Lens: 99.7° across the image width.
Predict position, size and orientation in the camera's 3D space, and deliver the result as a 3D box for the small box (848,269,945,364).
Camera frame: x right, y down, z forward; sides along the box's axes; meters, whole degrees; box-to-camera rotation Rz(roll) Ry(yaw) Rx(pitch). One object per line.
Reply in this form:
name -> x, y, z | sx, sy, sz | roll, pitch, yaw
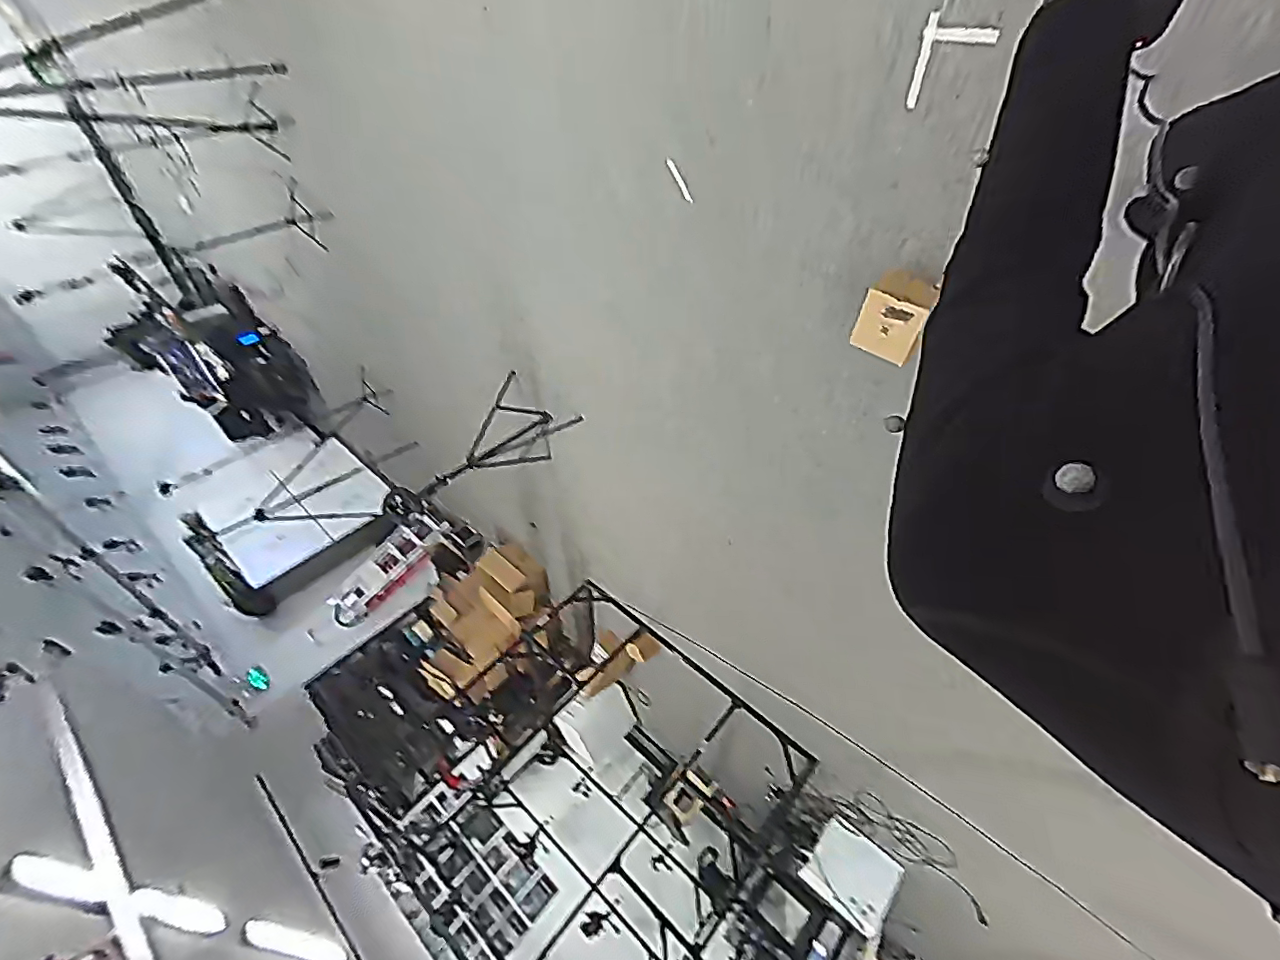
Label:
small box -> 0.720, -0.462, 1.512 | 0.168, 0.176, 0.179 | 35, 145, 25
